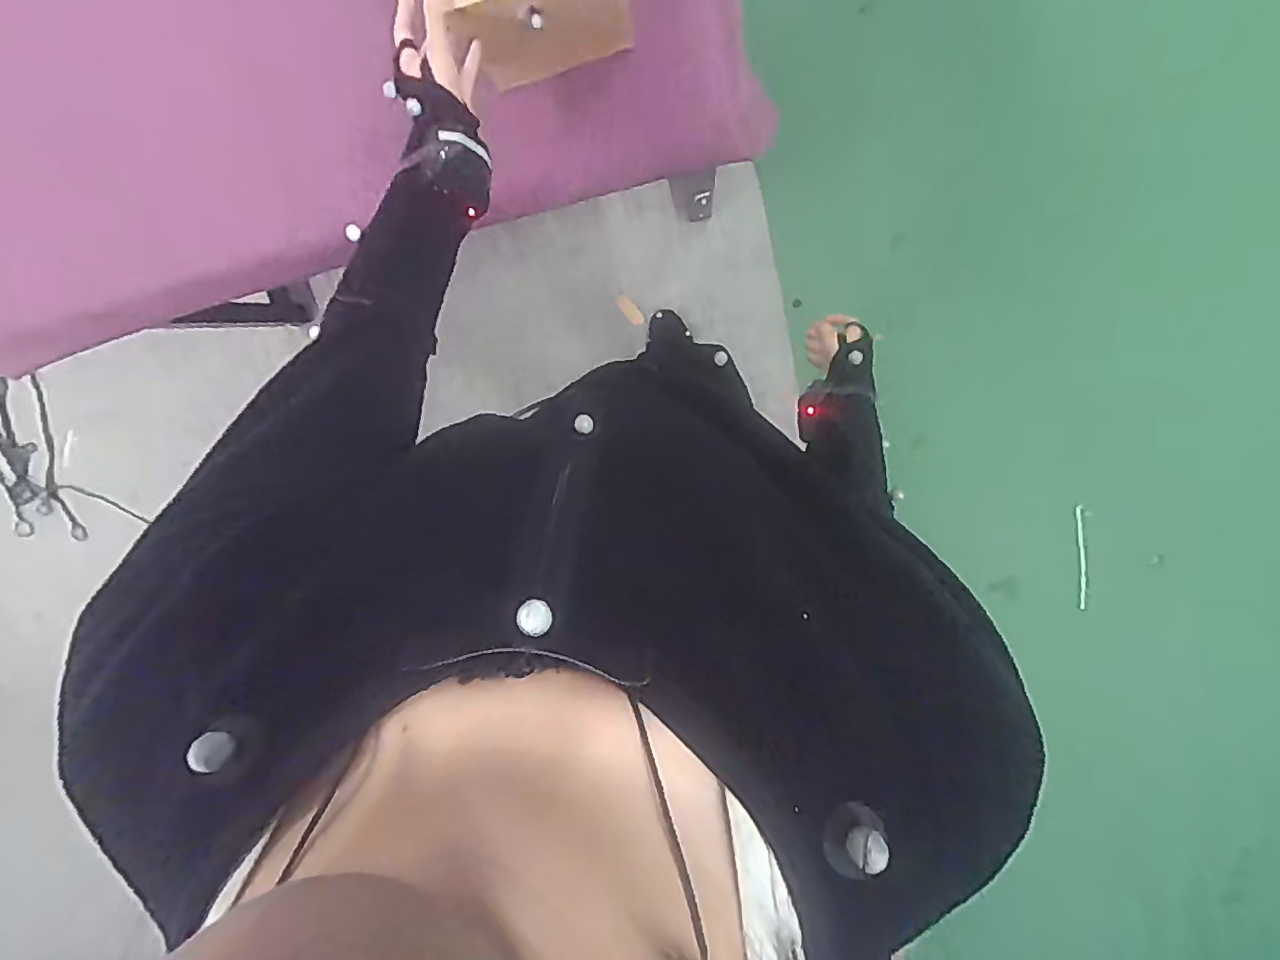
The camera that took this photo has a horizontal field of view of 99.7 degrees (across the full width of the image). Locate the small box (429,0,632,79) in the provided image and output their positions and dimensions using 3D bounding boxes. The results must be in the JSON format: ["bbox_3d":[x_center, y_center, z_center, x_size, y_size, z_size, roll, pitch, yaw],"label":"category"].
[{"bbox_3d":[-0.115,-0.543,0.540,0.179,0.176,0.168,-10,104,8],"label":"small box"}]
